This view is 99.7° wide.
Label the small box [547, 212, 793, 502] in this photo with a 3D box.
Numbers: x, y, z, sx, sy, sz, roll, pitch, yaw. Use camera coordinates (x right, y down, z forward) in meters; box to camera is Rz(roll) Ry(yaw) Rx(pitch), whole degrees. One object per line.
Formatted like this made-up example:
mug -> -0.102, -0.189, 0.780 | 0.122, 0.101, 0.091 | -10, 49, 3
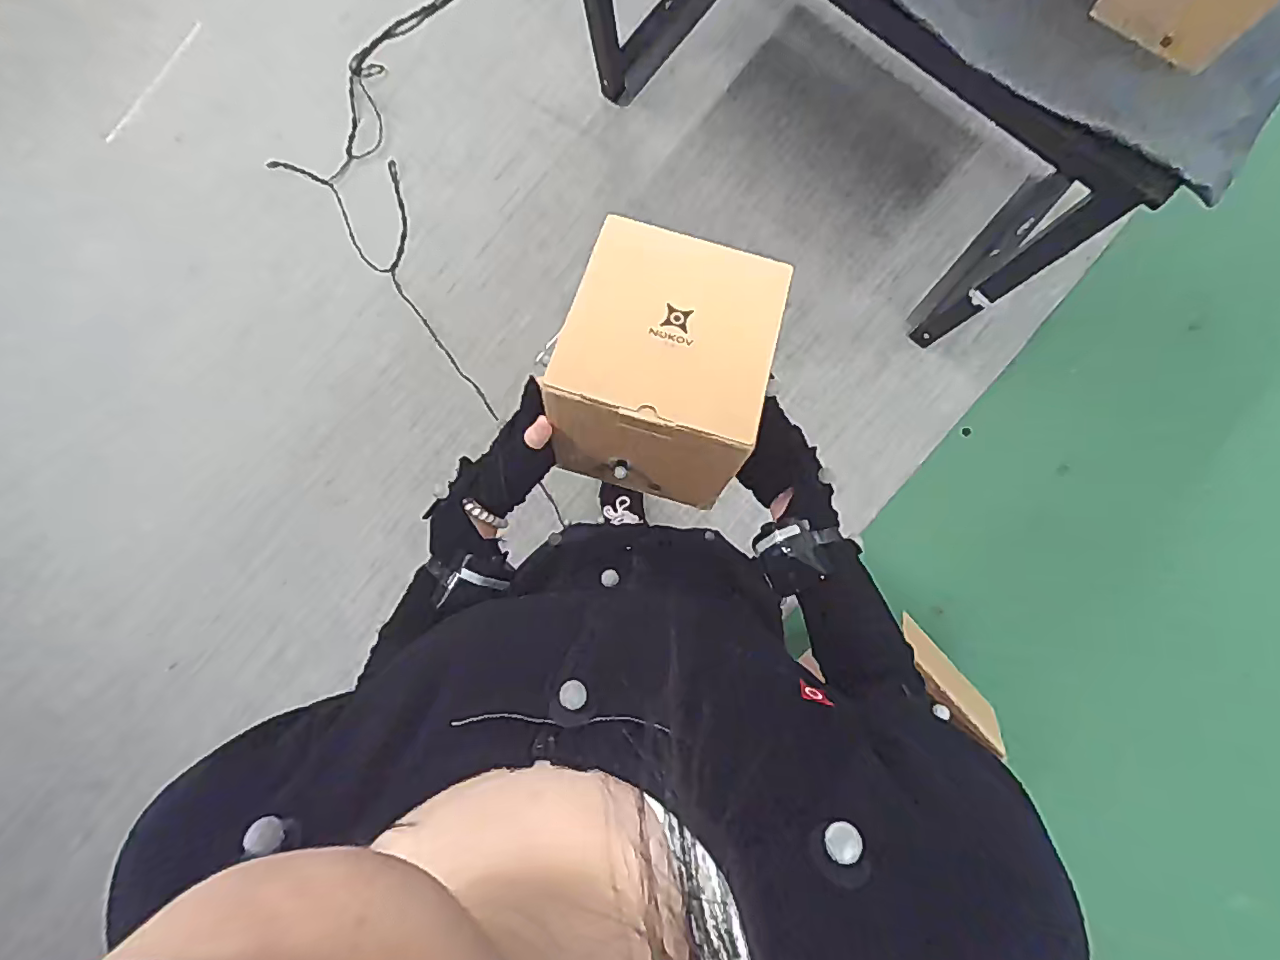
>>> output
small box -> 0.021, -0.099, 0.501 | 0.168, 0.176, 0.179 | 16, 71, 0
